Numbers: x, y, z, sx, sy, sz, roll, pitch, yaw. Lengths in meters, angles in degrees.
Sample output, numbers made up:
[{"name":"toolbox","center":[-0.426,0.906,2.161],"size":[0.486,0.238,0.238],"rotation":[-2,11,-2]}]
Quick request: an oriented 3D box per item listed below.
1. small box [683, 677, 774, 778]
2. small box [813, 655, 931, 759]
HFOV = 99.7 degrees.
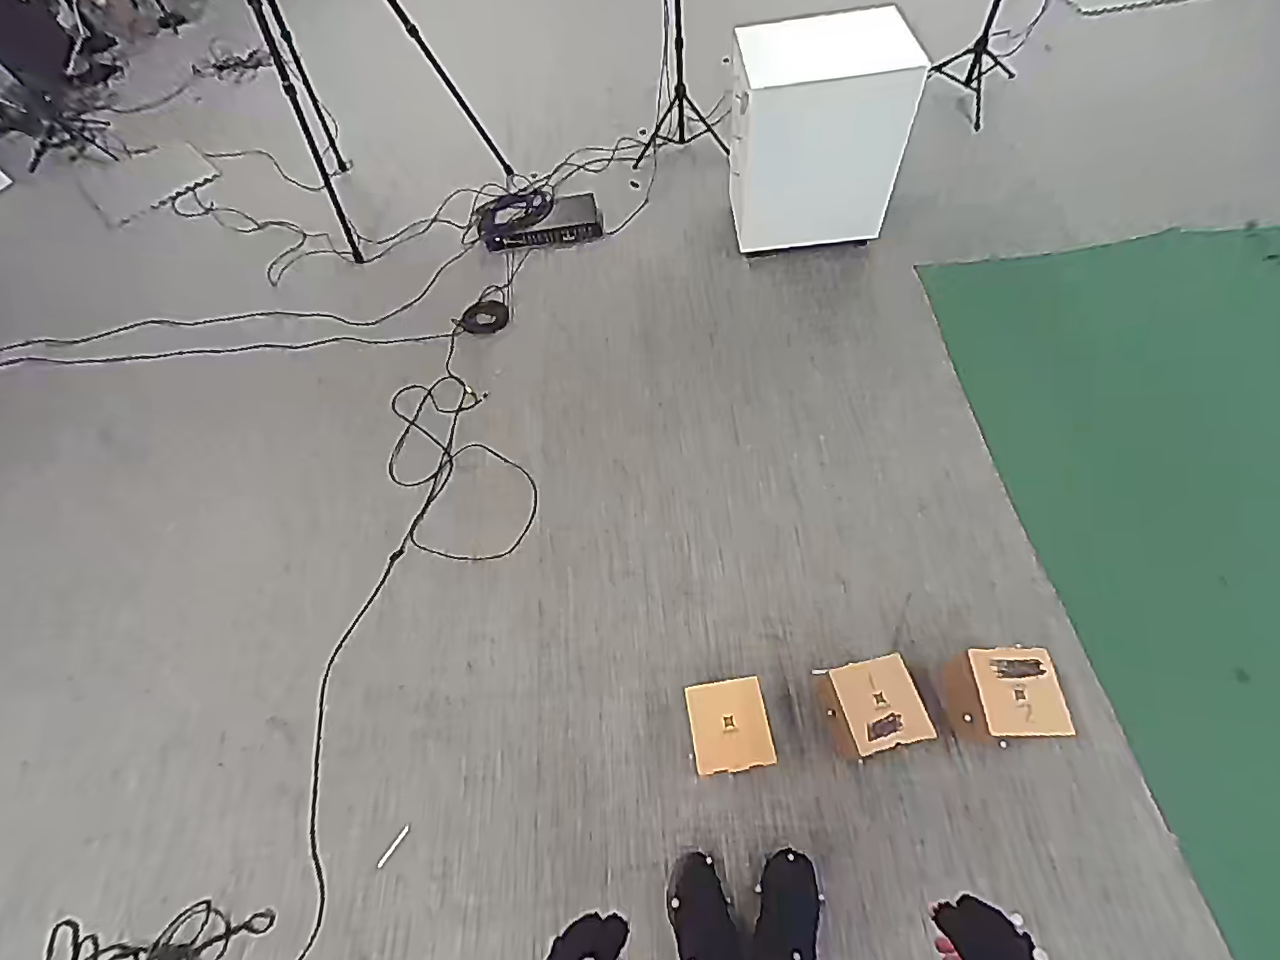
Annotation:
[{"name":"small box","center":[0.190,0.558,1.213],"size":[0.168,0.176,0.179],"rotation":[-10,60,1]},{"name":"small box","center":[0.504,0.511,1.205],"size":[0.168,0.176,0.179],"rotation":[-13,59,-2]}]
